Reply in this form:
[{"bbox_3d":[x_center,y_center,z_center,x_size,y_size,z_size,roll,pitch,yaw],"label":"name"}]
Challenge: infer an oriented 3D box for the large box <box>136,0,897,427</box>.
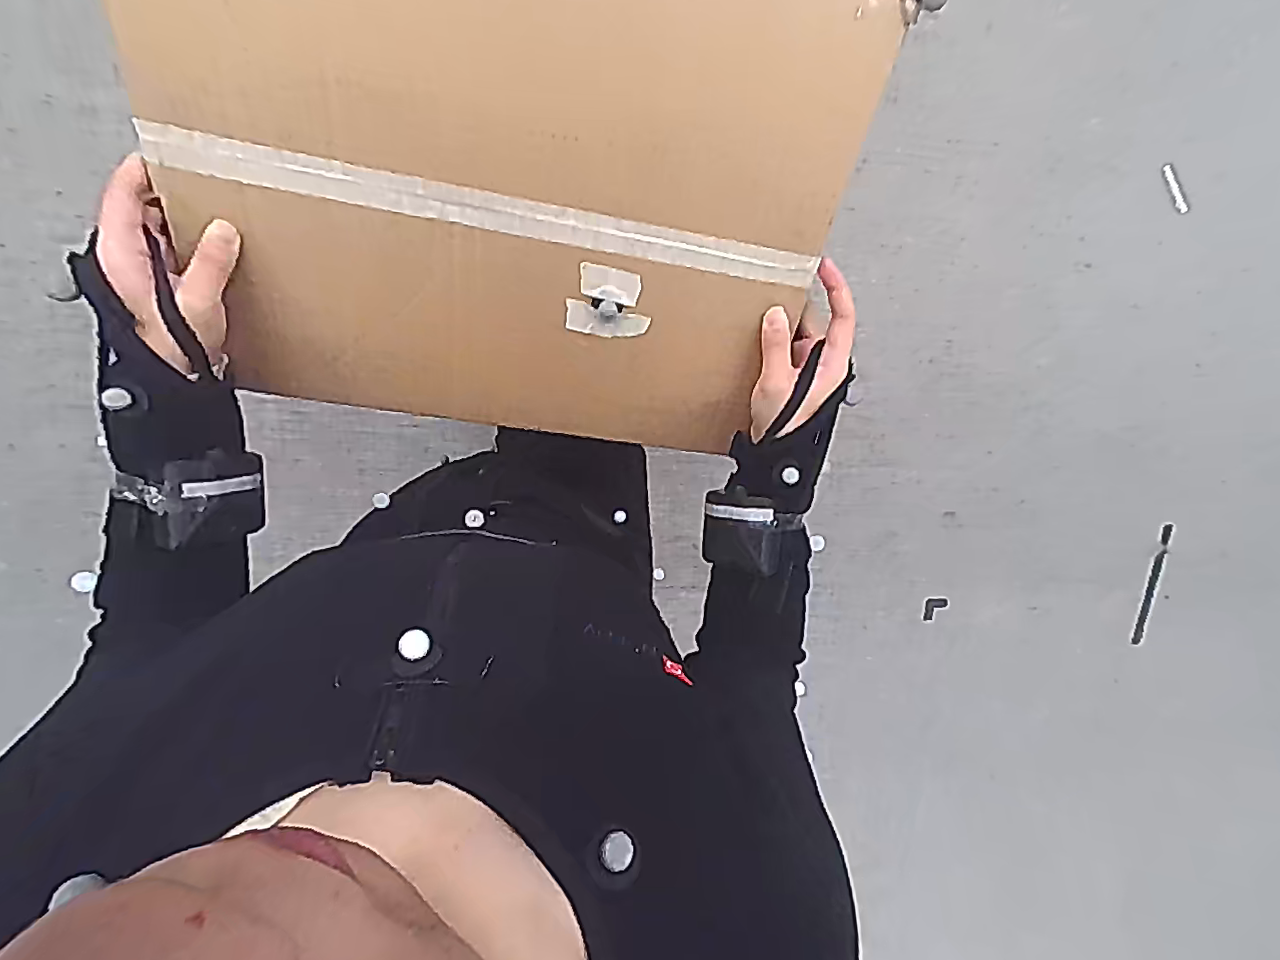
[{"bbox_3d":[-0.088,-0.273,0.458,0.408,0.320,0.320,6,127,-10],"label":"large box"}]
